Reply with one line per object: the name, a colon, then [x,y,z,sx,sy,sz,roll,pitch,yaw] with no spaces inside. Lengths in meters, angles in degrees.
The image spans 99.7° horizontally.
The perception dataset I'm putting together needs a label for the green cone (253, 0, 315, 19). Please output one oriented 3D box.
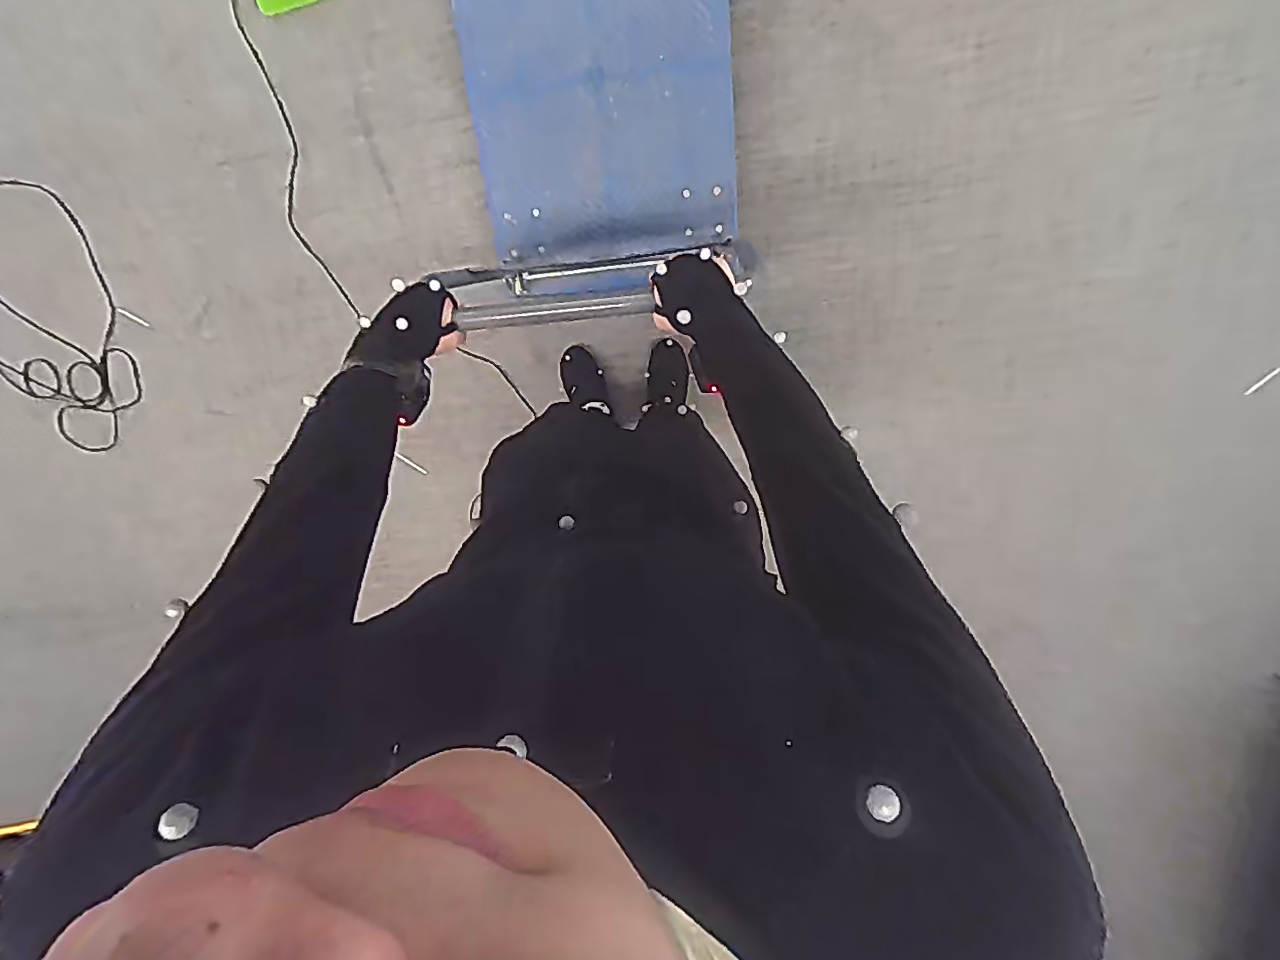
green cone: [-0.870,-1.169,1.111,0.202,0.368,0.200,-10,108,10]
